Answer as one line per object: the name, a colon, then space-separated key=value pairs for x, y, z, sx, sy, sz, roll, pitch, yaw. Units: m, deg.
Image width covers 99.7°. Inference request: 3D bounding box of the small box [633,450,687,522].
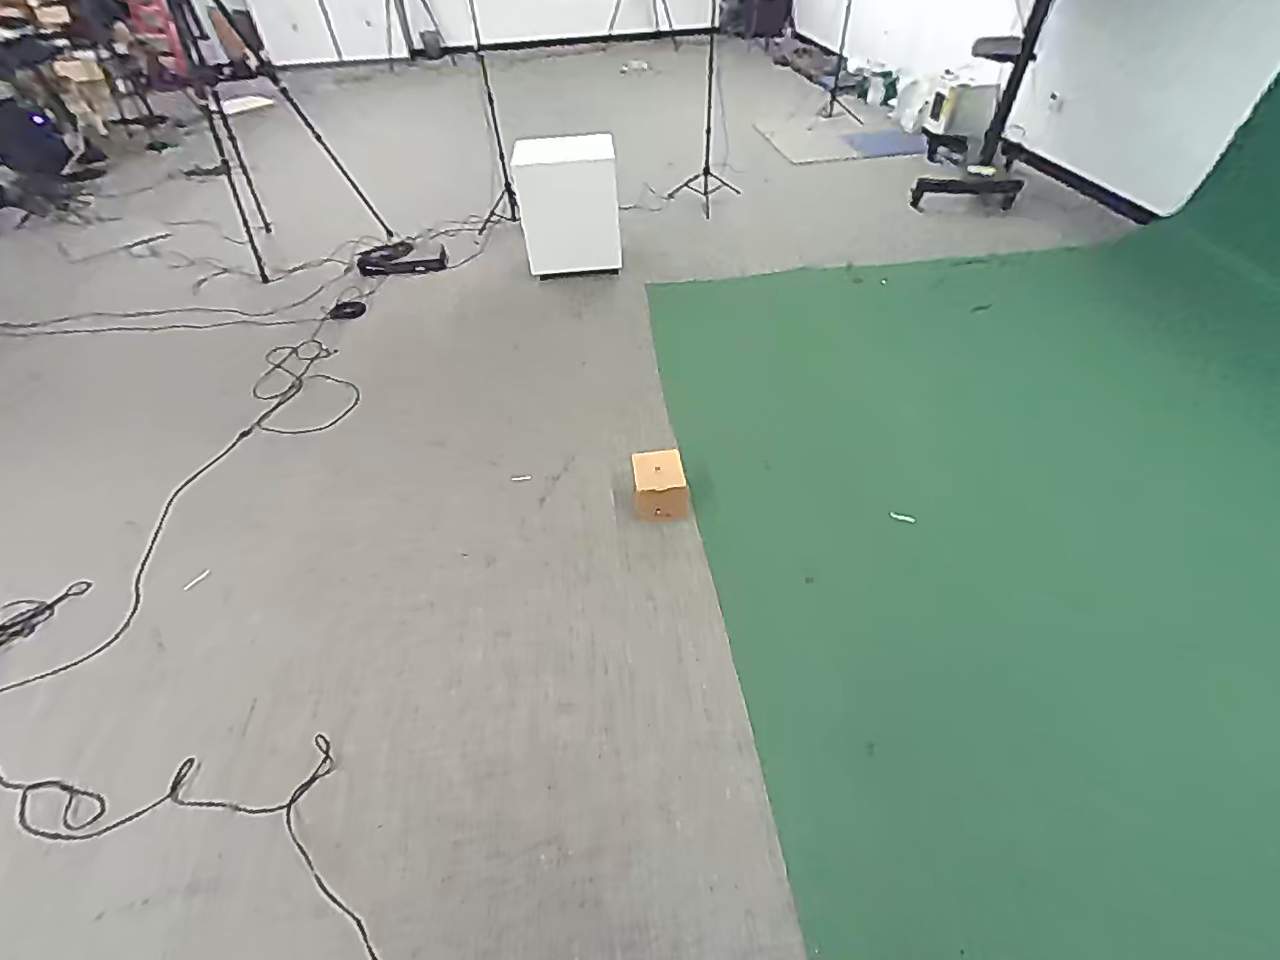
small box: x=0.066 y=0.022 z=1.883 sx=0.168 sy=0.176 sz=0.179 roll=-7 pitch=48 yaw=-3
